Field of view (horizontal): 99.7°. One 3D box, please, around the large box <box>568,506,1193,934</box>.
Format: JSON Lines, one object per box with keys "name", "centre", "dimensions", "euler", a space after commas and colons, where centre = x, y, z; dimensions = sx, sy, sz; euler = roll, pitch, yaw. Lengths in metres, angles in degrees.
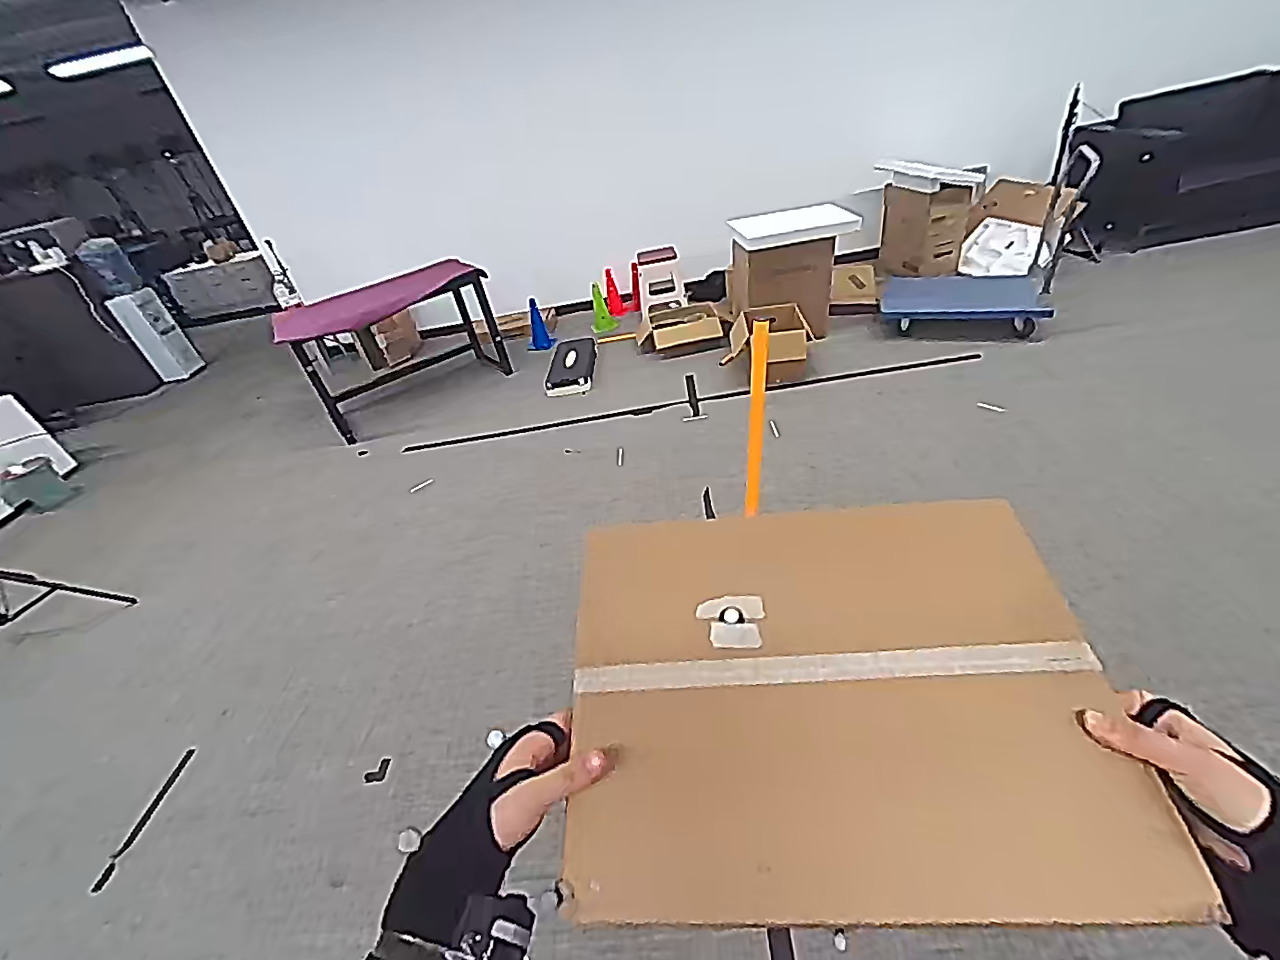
{"name": "large box", "centre": [0.167, 0.259, 0.557], "dimensions": [0.408, 0.320, 0.320], "euler": [-6, 49, 6]}
